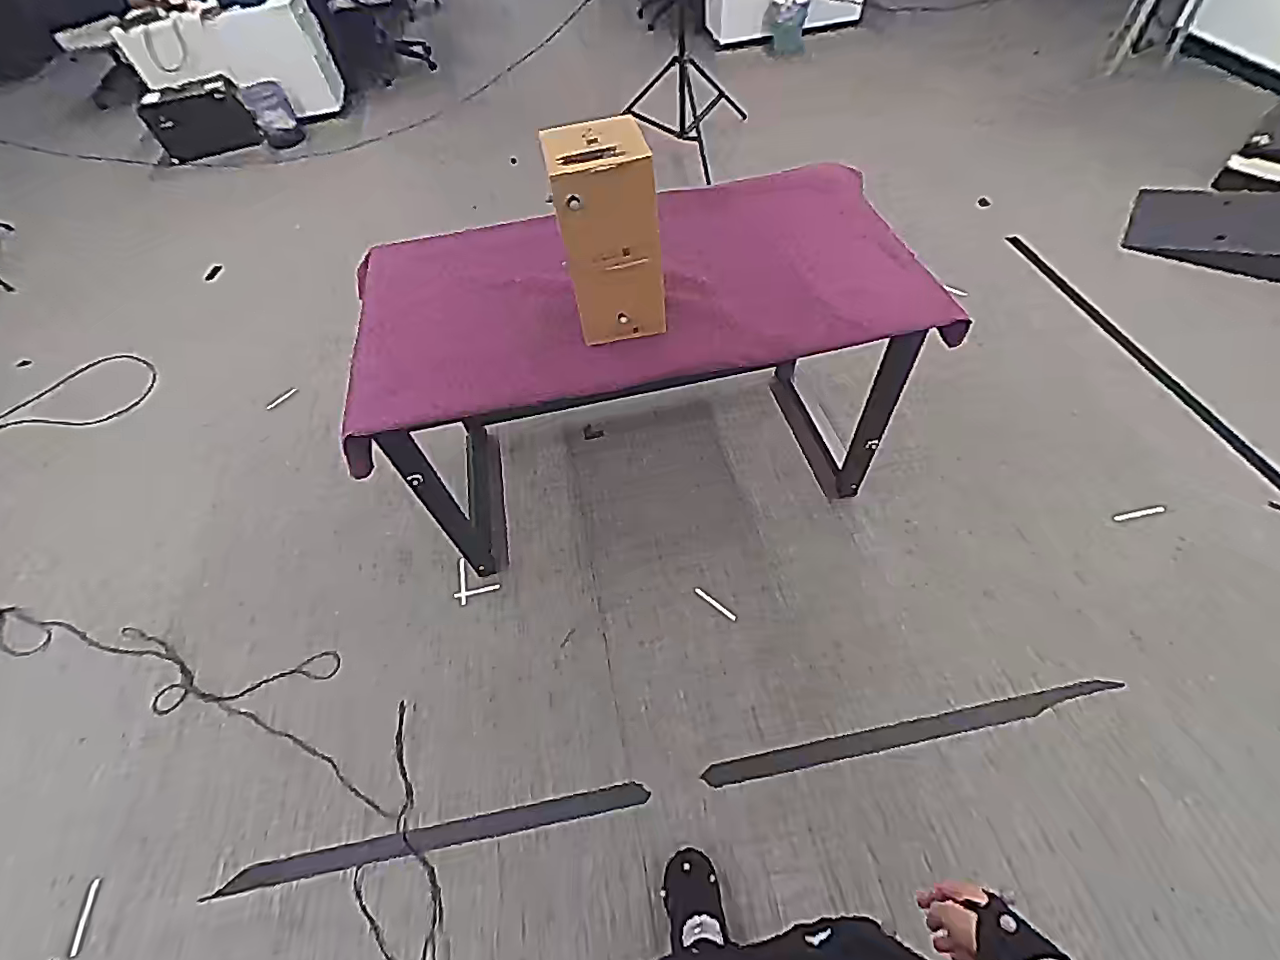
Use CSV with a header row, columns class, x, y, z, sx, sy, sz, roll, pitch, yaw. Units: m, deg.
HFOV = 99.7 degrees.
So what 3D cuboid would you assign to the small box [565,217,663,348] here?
class,x,y,z,sx,sy,sz,roll,pitch,yaw
small box,-0.051,-0.392,1.080,0.168,0.176,0.179,-11,54,-1
